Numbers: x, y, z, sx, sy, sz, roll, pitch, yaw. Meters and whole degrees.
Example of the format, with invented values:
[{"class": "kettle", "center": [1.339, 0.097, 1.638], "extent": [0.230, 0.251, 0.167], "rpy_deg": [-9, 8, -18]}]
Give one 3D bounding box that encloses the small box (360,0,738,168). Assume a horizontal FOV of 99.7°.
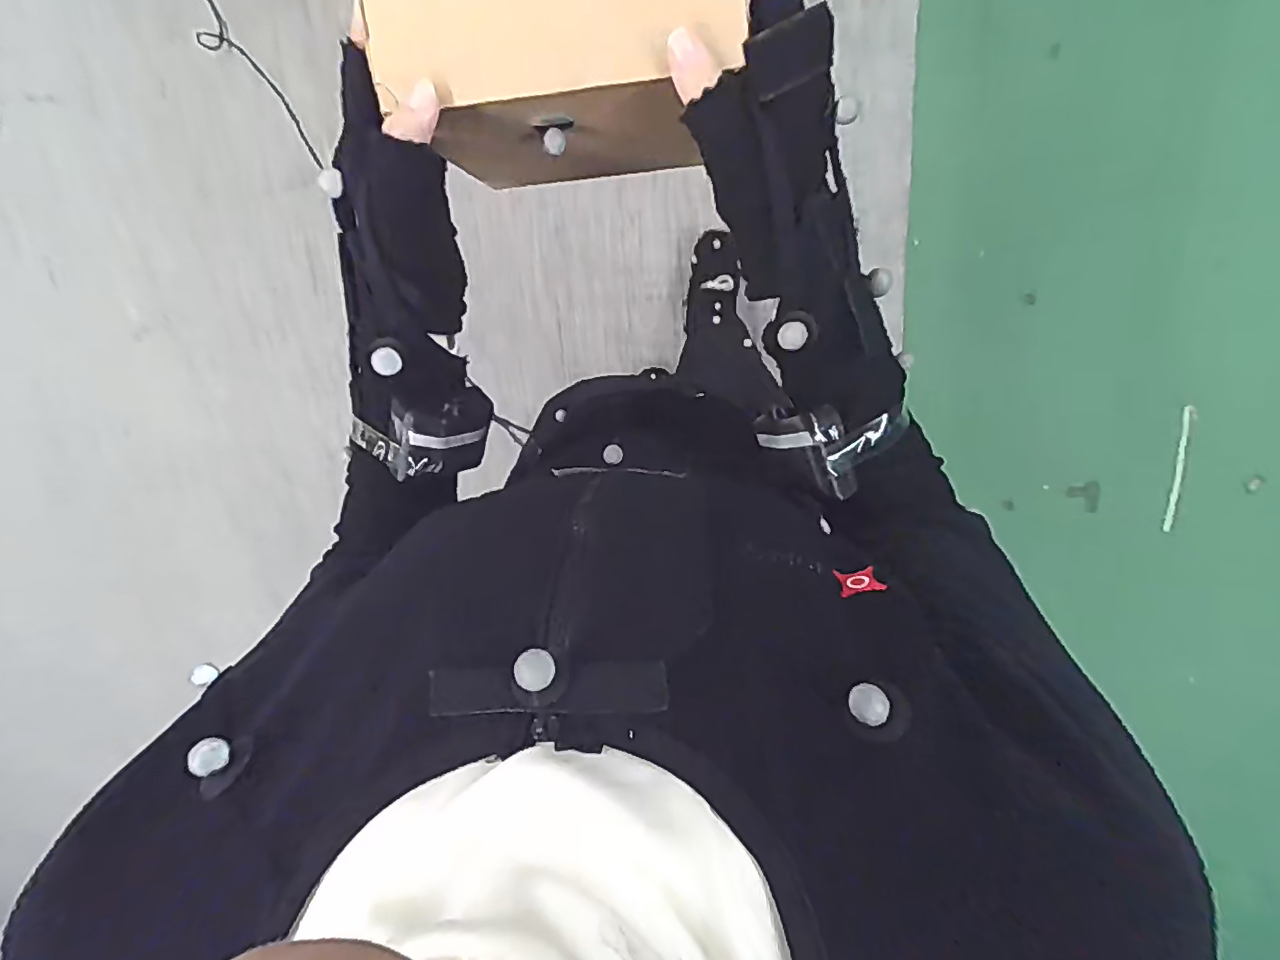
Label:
[{"class": "small box", "center": [-0.042, -0.293, 0.305], "extent": [0.179, 0.176, 0.168], "rpy_deg": [-4, 107, 4]}]
